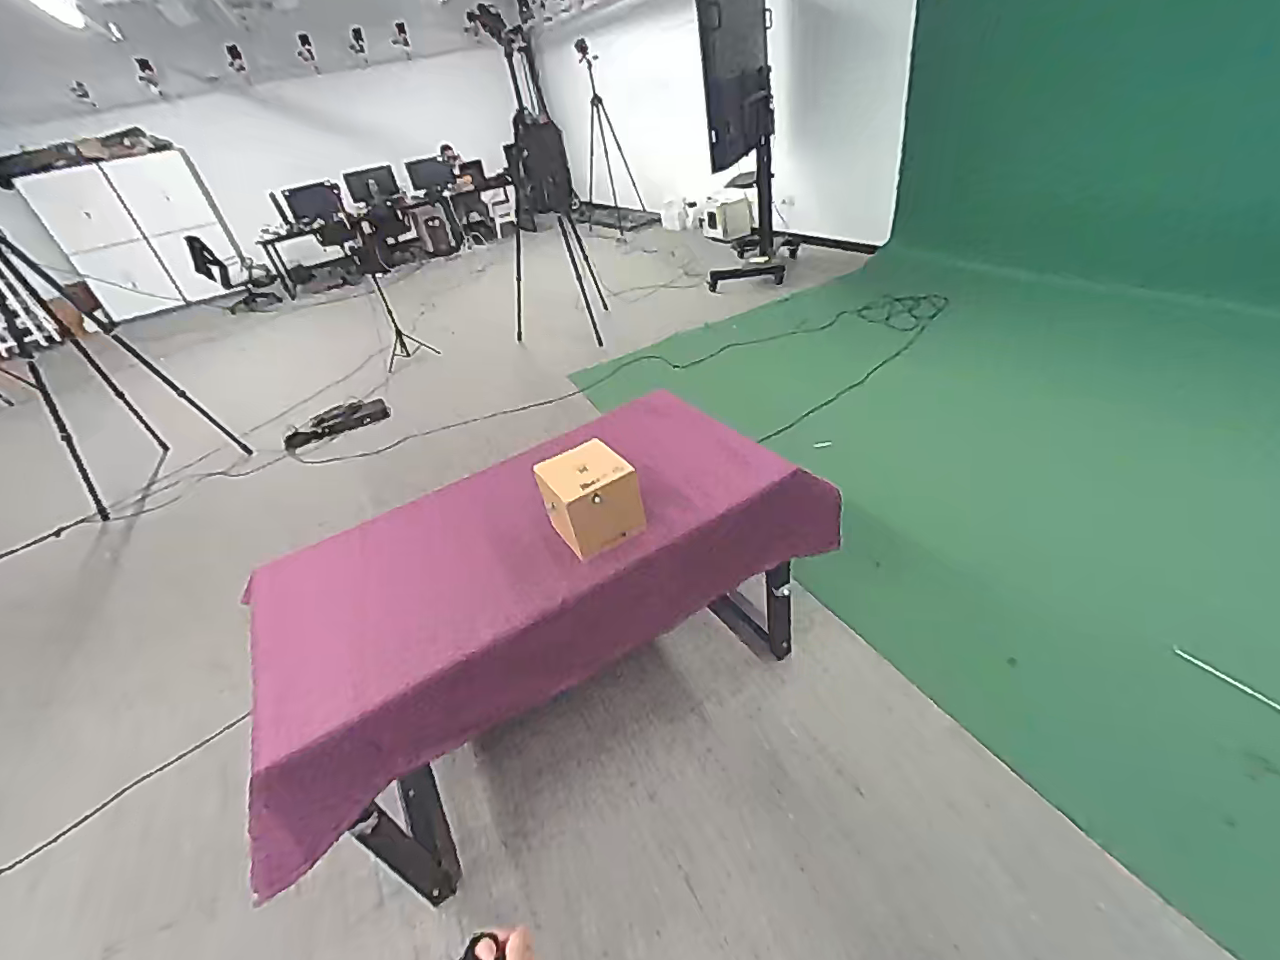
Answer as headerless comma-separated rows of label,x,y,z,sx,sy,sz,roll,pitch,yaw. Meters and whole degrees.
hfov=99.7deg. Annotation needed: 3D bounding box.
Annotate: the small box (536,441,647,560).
small box,-0.105,0.044,1.195,0.168,0.176,0.179,-28,38,-19
